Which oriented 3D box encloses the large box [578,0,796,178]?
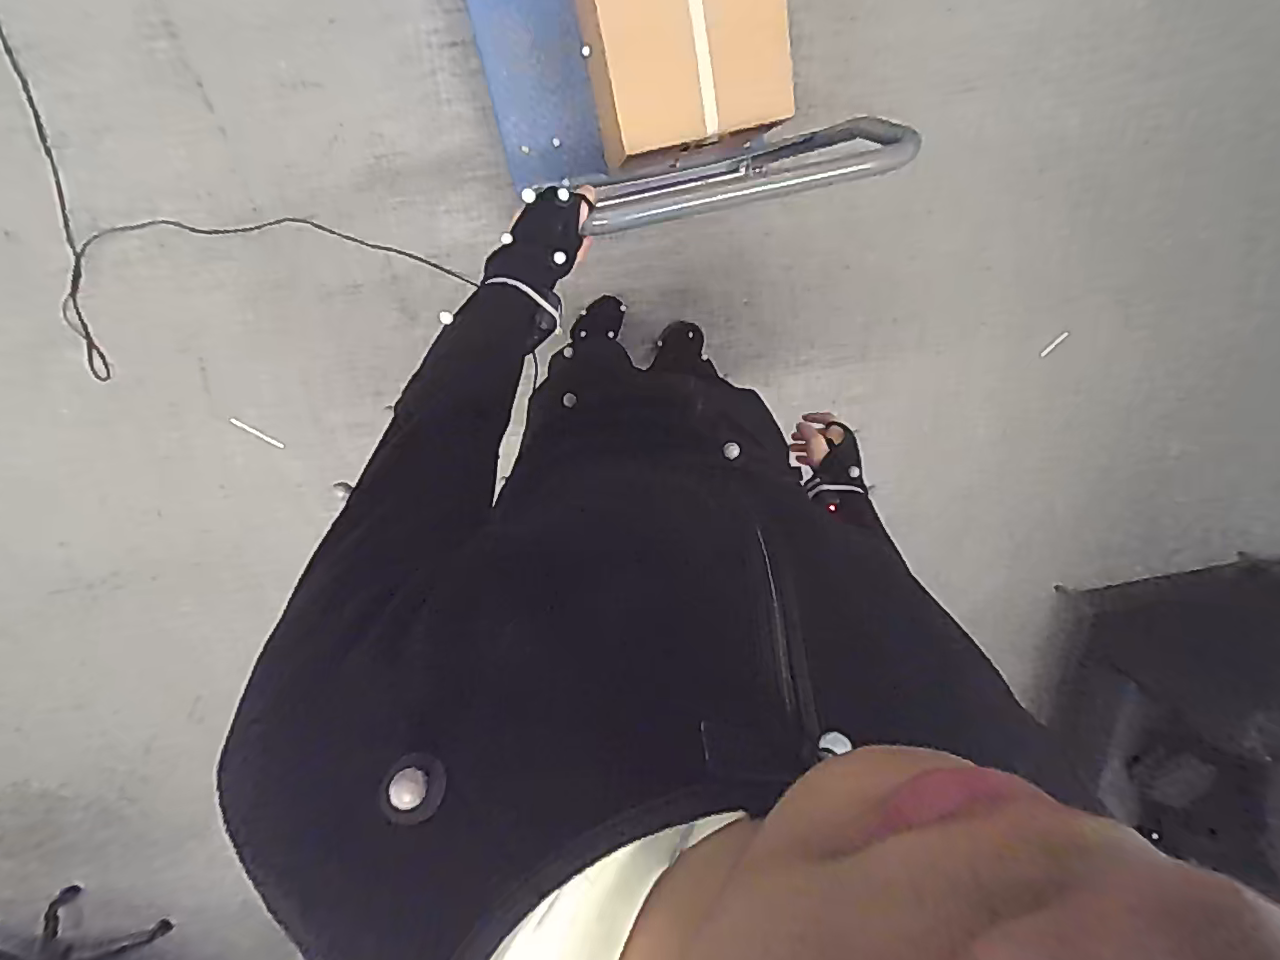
[{"bbox_3d":[0.066,-0.834,1.004,0.320,0.320,0.408,-14,113,-3],"label":"large box"}]
